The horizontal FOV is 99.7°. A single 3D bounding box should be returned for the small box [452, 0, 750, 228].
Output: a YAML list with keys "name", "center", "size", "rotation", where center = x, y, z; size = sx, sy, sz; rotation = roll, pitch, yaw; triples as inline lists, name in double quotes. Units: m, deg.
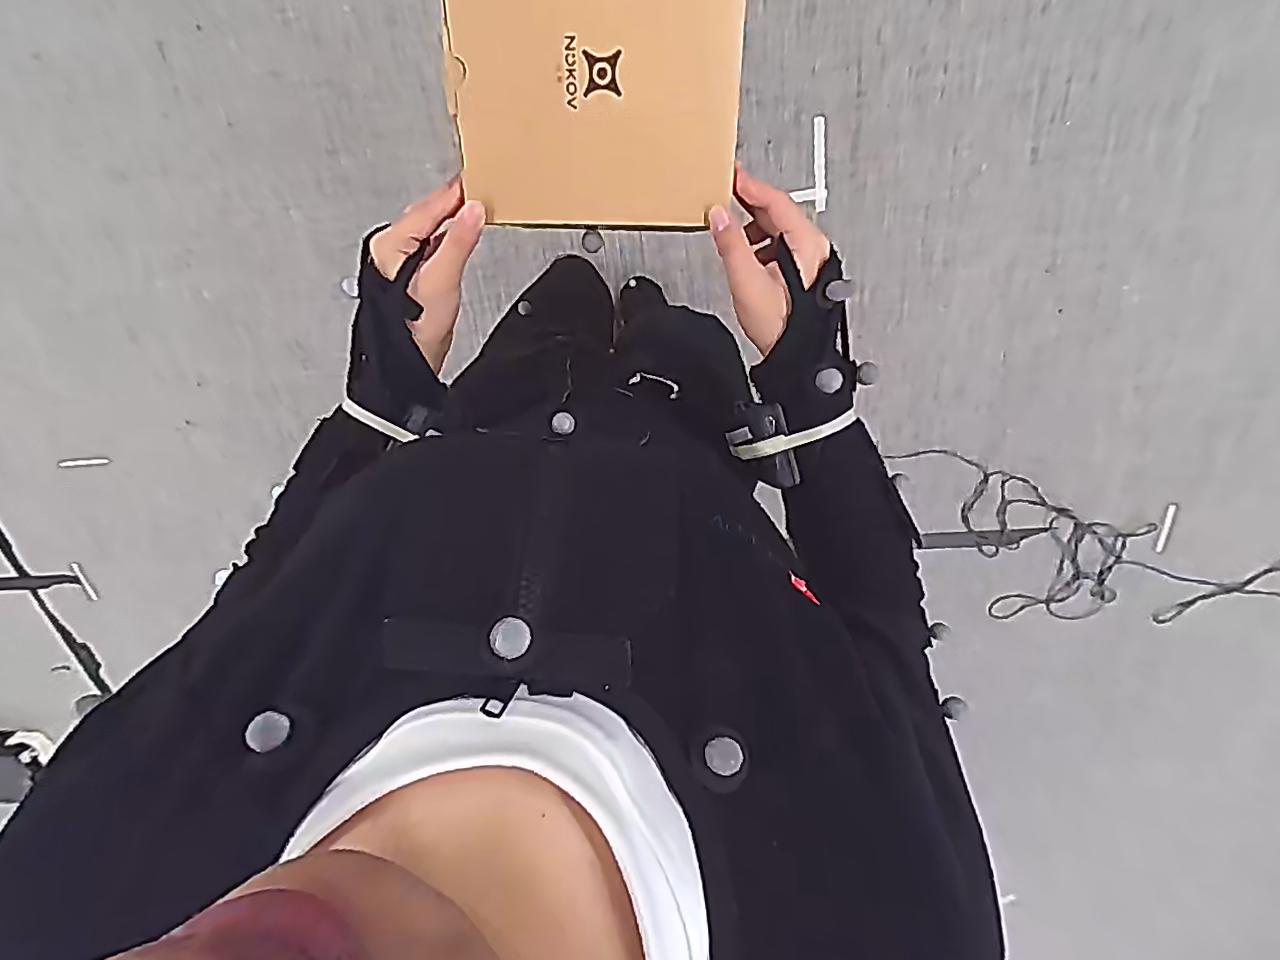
- name: "small box"
  center: [-0.021, -0.280, 0.401]
  size: [0.179, 0.176, 0.168]
  rotation: [2, 114, 2]
